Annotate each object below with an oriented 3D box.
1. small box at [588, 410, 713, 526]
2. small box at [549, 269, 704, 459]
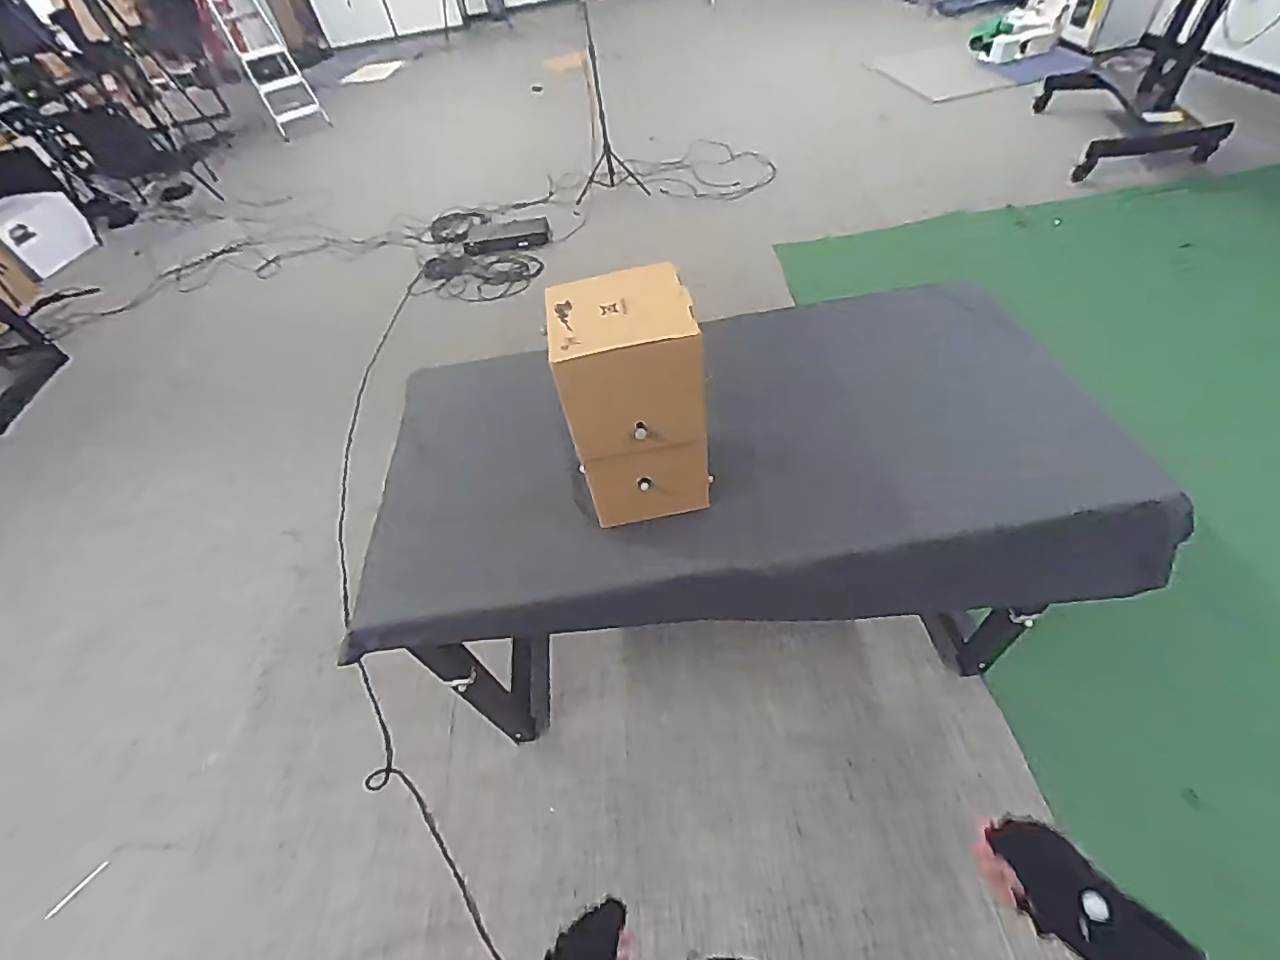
[{"bbox_3d":[0.007,-0.050,0.847,0.179,0.176,0.168,-13,50,-3],"label":"small box"},{"bbox_3d":[-0.016,-0.150,0.719,0.179,0.176,0.168,-11,49,0],"label":"small box"}]
